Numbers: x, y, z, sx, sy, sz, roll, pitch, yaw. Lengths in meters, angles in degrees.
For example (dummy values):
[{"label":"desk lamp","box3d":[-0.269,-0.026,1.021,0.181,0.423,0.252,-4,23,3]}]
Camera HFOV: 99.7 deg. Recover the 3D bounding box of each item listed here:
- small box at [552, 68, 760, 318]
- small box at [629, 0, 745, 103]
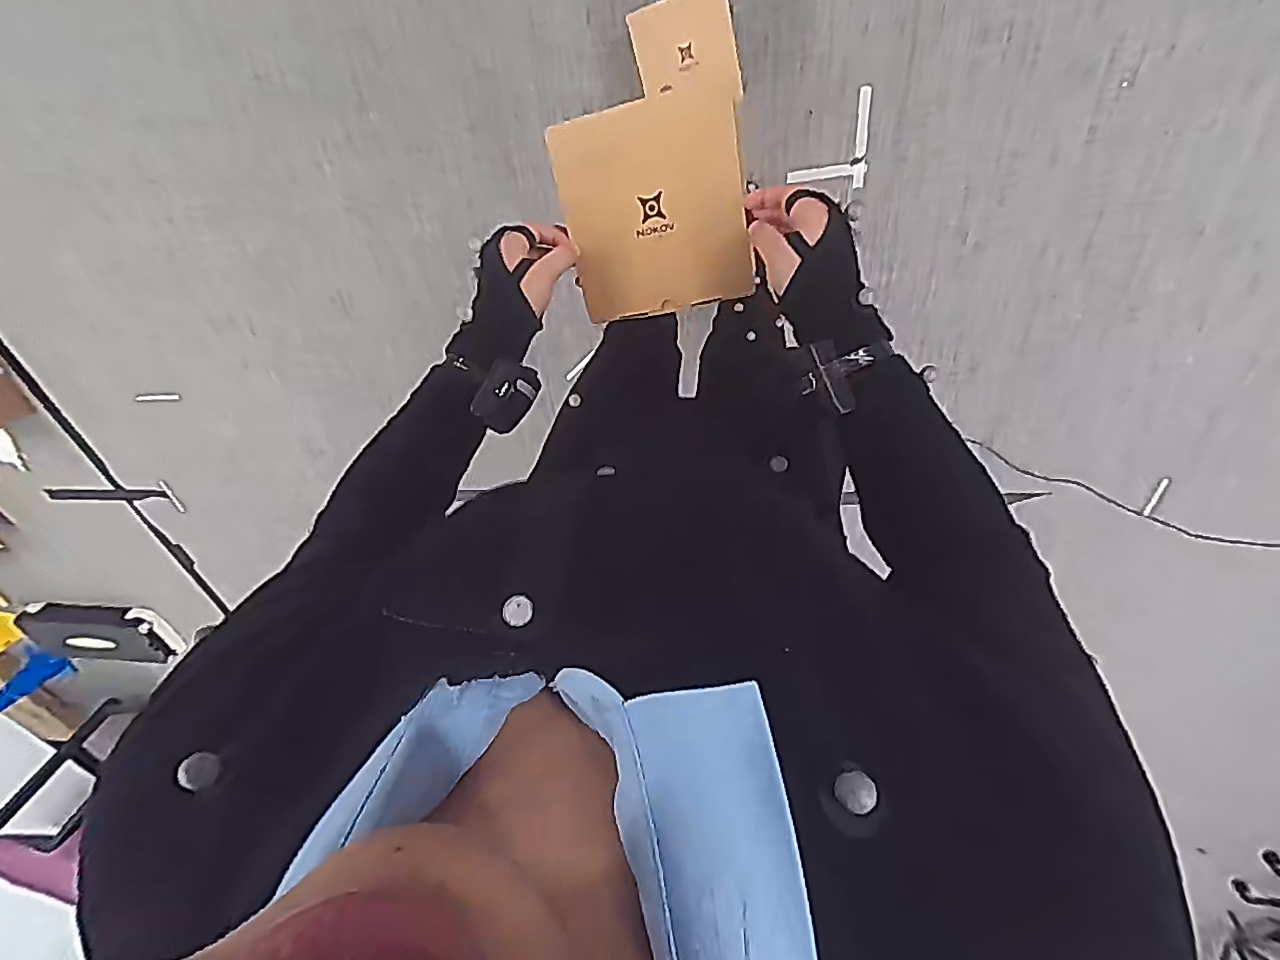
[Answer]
[{"label":"small box","box3d":[0.028,-0.283,0.555,0.168,0.176,0.179,-6,118,14]},{"label":"small box","box3d":[0.088,-0.753,0.971,0.168,0.176,0.179,-10,125,16]}]
